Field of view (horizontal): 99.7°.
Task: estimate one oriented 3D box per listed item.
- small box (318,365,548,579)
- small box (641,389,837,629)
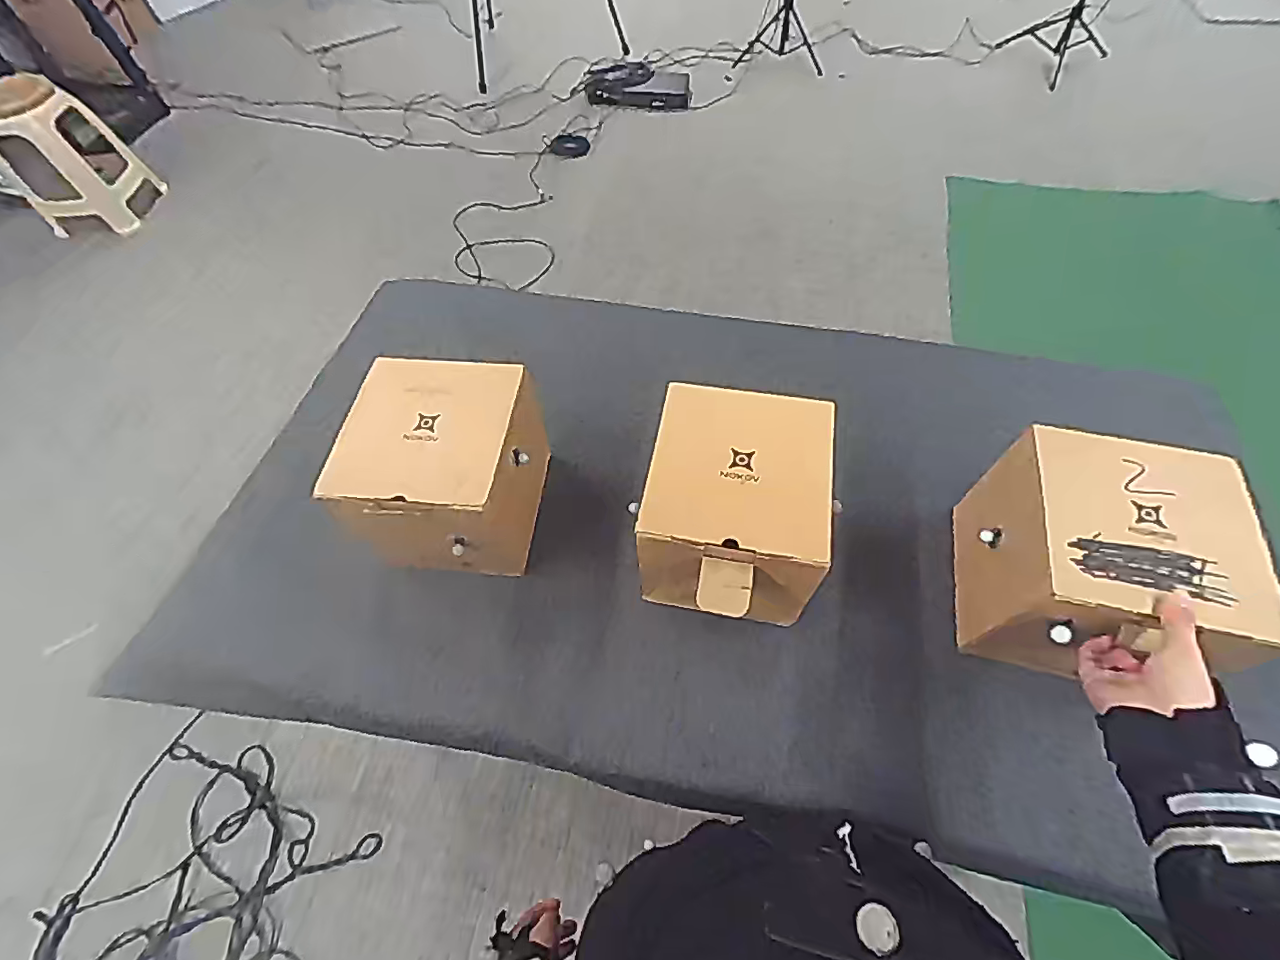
[{"bbox_3d":[-0.206,-0.003,0.601,0.168,0.176,0.179,4,57,4],"label":"small box"},{"bbox_3d":[0.098,0.034,0.563,0.168,0.176,0.179,9,59,8],"label":"small box"}]
